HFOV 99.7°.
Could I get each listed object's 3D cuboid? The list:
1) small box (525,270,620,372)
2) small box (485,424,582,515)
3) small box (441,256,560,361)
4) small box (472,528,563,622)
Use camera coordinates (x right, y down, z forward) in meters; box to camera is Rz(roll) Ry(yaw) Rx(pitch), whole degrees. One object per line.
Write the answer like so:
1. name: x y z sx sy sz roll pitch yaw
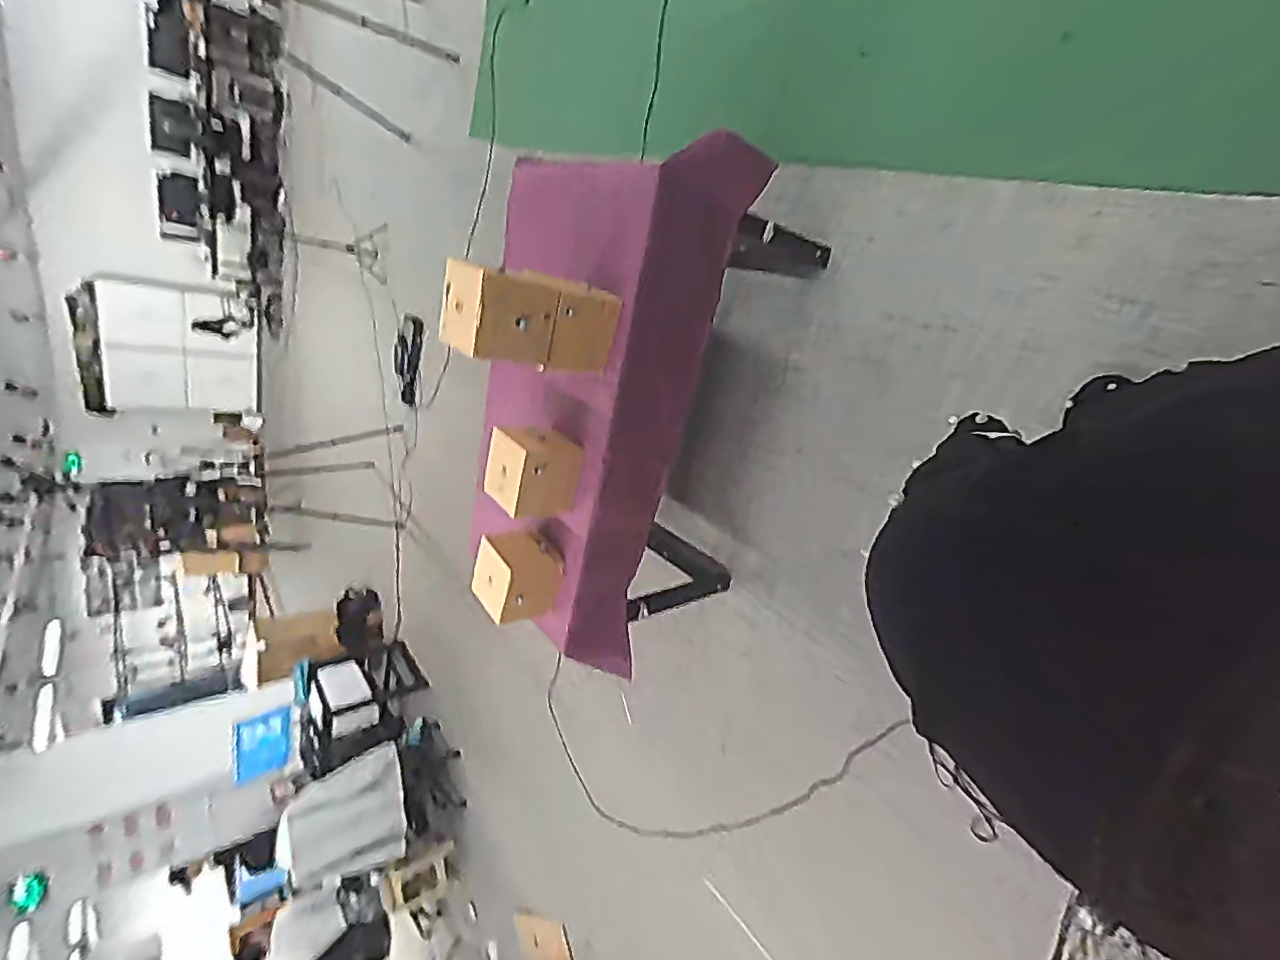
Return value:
1. small box: -0.169 -0.357 1.235 0.168 0.176 0.179 38 120 39
2. small box: -0.267 -0.031 1.367 0.168 0.176 0.179 35 118 41
3. small box: -0.289 -0.351 1.124 0.179 0.176 0.168 34 117 40
4. small box: -0.328 0.249 1.458 0.168 0.176 0.179 39 120 38
